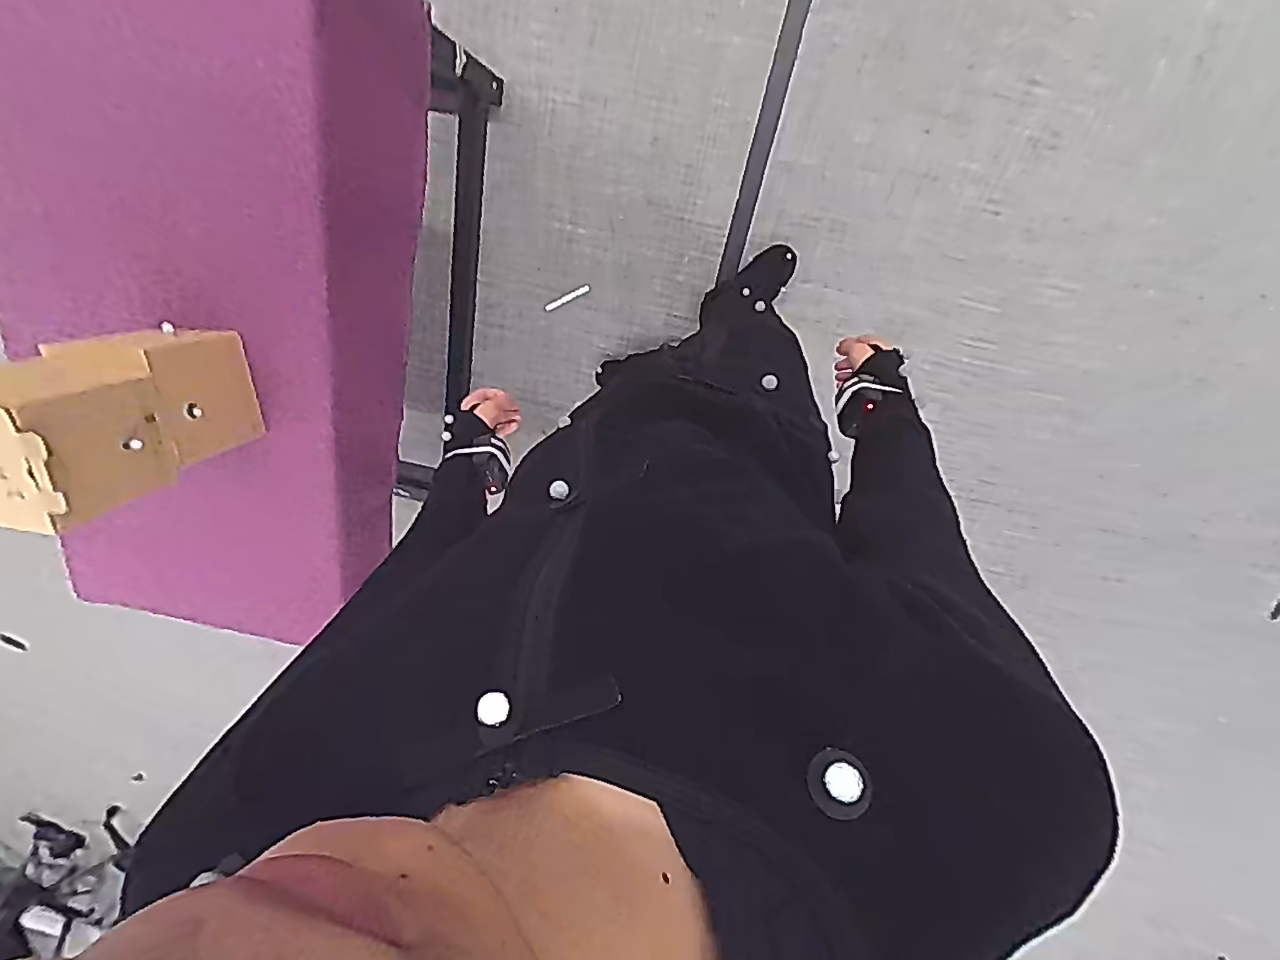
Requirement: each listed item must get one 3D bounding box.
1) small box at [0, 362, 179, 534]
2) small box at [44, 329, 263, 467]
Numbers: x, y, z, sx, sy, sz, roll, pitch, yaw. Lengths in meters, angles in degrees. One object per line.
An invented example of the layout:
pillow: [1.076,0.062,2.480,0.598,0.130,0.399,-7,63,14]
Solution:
small box: [-0.771,-0.051,0.707,0.179,0.176,0.168,8,115,4]
small box: [-0.740,-0.134,0.848,0.168,0.176,0.179,3,113,6]
